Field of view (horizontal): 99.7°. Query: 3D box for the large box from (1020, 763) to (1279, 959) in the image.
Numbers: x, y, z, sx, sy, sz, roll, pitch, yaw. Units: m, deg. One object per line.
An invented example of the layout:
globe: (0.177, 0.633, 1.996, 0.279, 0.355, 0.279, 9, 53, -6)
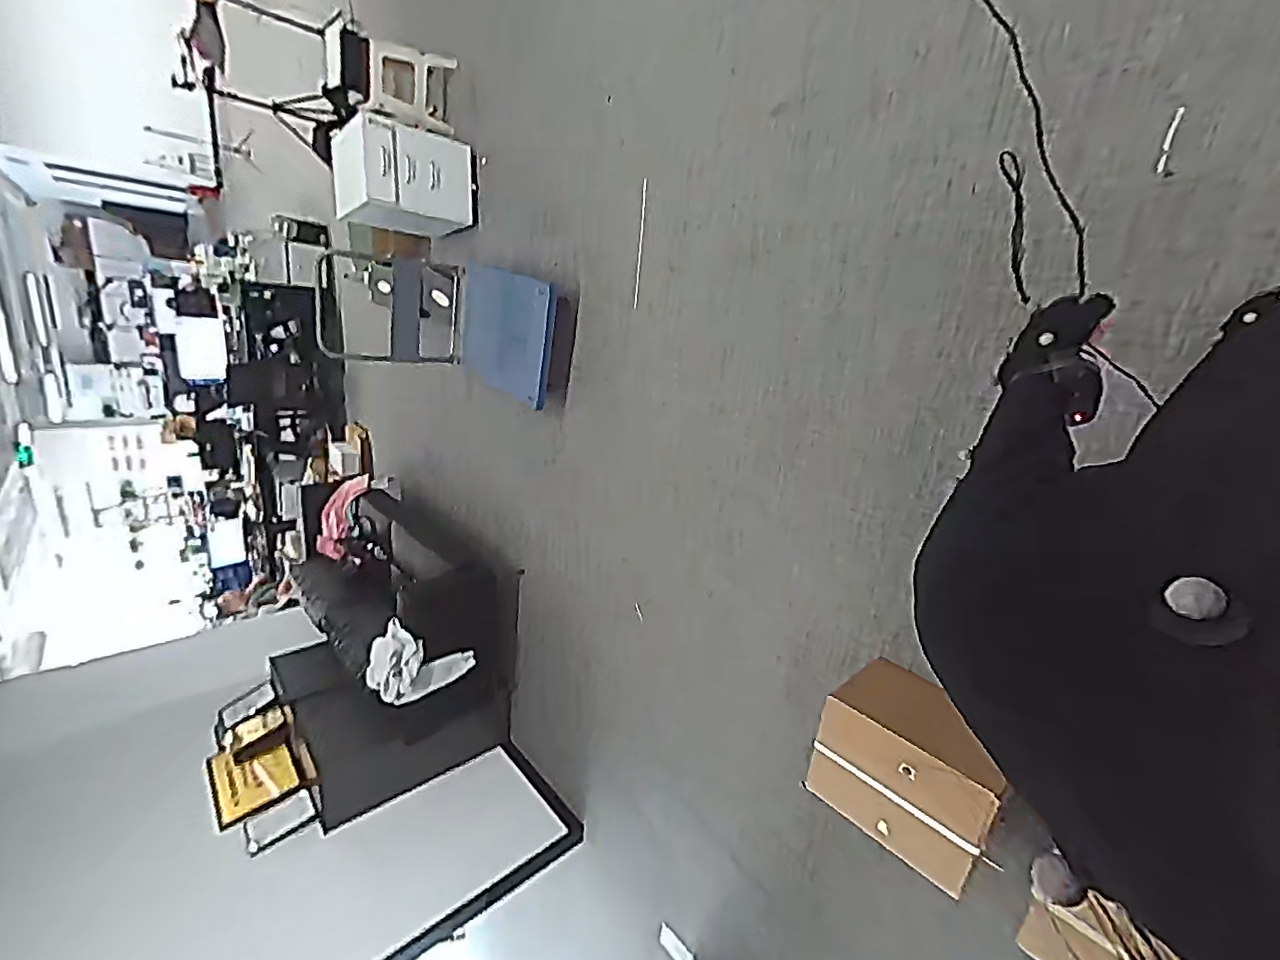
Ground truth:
large box: (1.066, 0.874, 1.084, 0.408, 0.320, 0.320, 22, 113, 42)
